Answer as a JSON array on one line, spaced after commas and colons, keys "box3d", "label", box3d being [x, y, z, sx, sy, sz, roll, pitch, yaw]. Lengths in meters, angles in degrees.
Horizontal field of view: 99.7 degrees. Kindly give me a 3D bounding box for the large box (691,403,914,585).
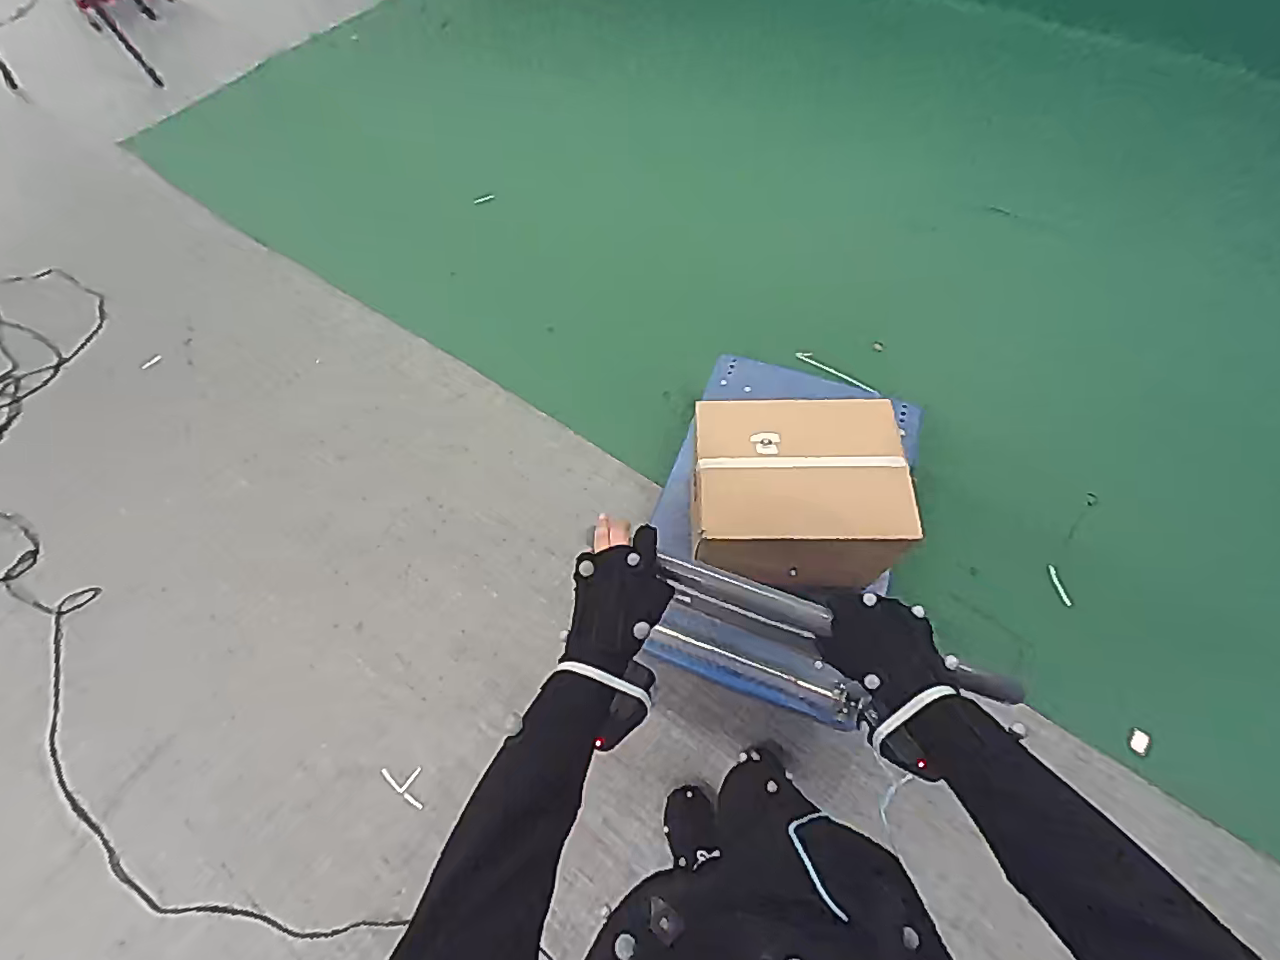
[{"box3d": [0.318, 0.044, 1.195, 0.408, 0.320, 0.320, 0, 63, 4], "label": "large box"}]
